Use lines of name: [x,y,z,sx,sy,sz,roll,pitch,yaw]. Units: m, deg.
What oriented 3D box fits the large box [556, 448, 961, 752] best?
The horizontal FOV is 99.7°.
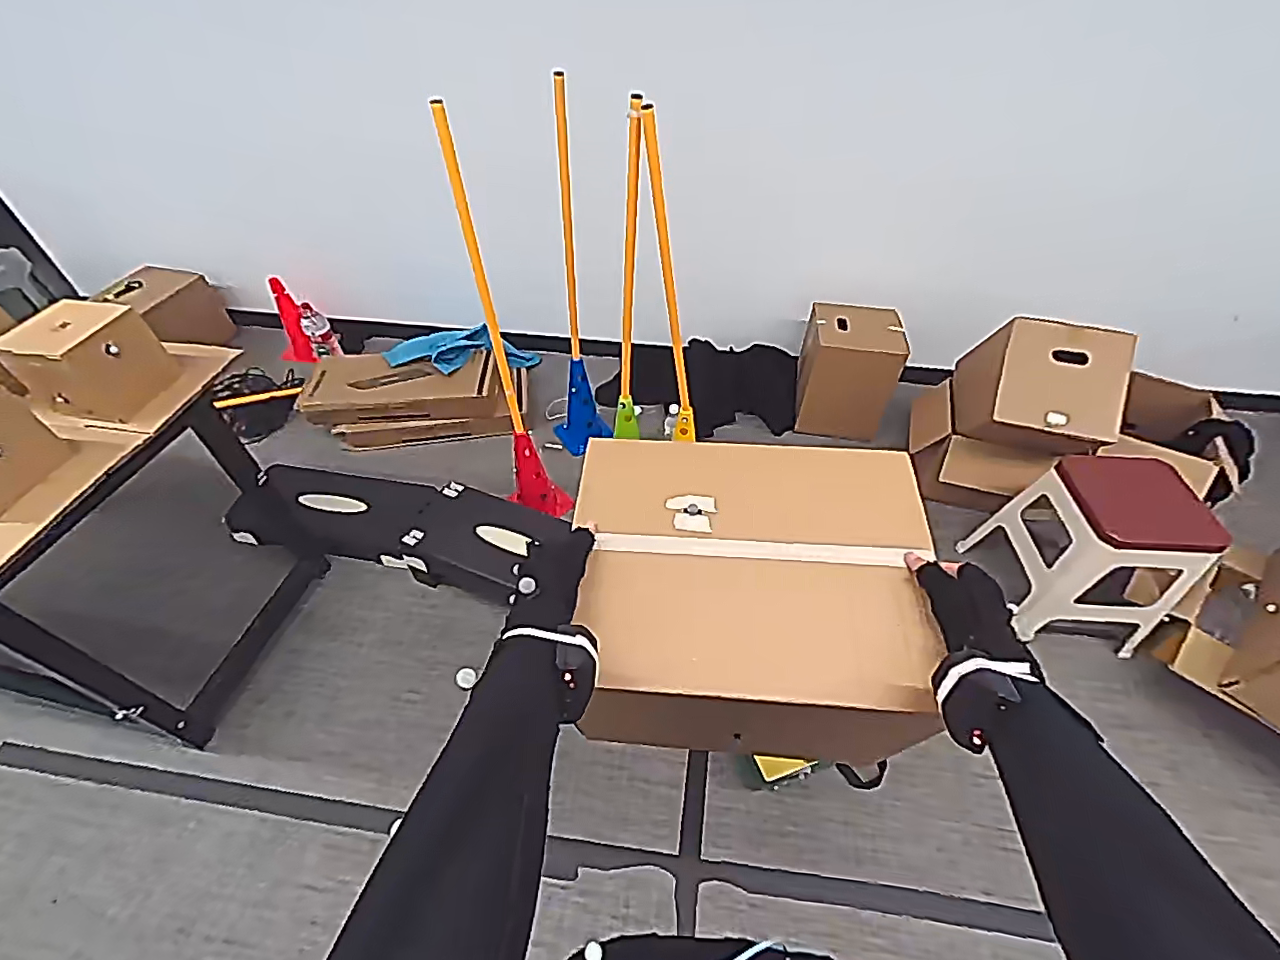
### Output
large box: [0.131,0.172,0.736,0.408,0.320,0.320,2,55,5]
